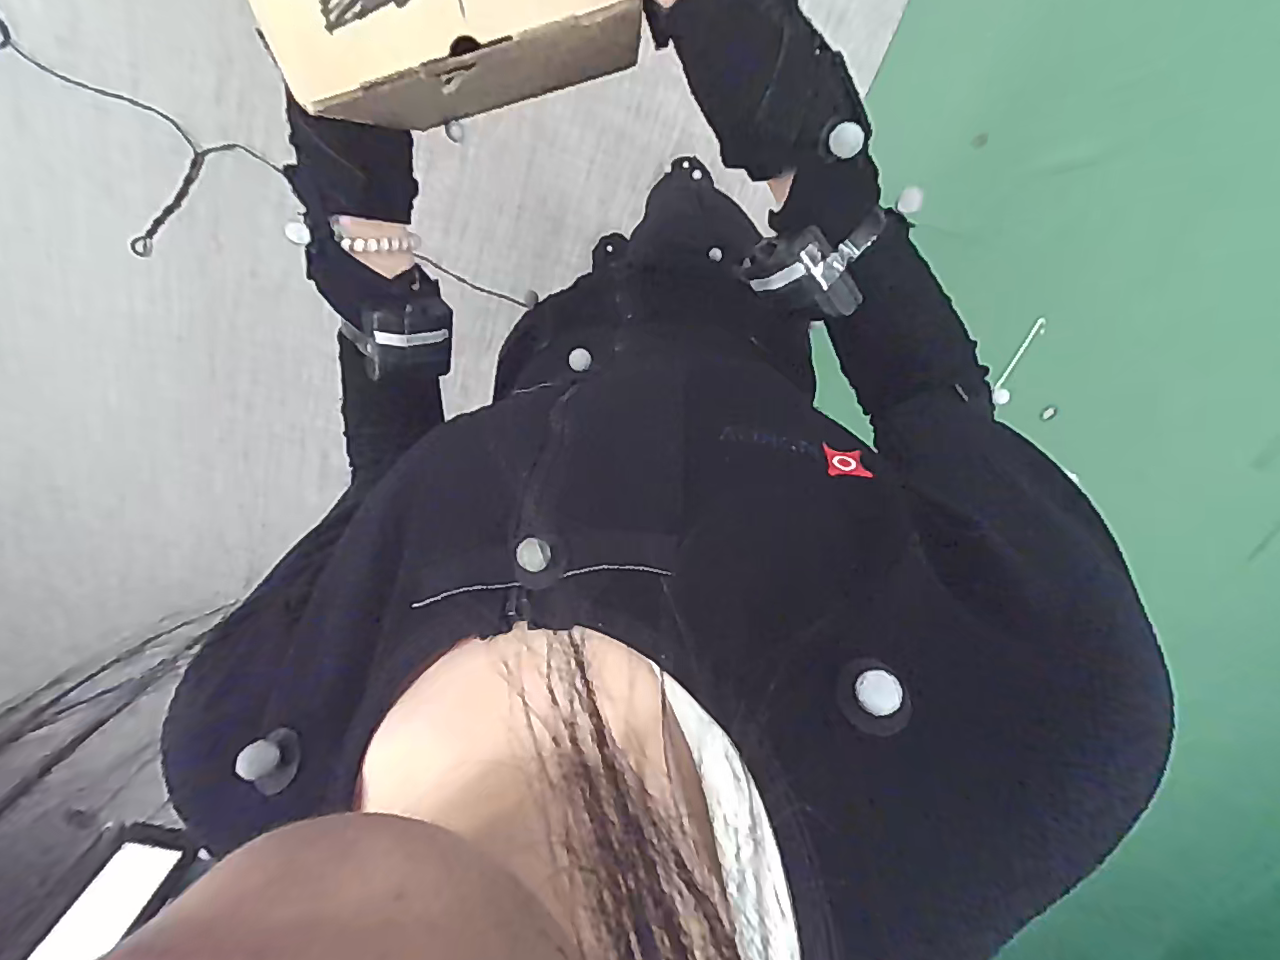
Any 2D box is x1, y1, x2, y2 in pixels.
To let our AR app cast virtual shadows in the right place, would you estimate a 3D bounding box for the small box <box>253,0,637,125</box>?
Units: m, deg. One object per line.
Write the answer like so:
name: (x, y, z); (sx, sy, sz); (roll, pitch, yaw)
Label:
small box: (-0.099, -0.300, 0.274); (0.168, 0.176, 0.179); (-13, 119, 6)
